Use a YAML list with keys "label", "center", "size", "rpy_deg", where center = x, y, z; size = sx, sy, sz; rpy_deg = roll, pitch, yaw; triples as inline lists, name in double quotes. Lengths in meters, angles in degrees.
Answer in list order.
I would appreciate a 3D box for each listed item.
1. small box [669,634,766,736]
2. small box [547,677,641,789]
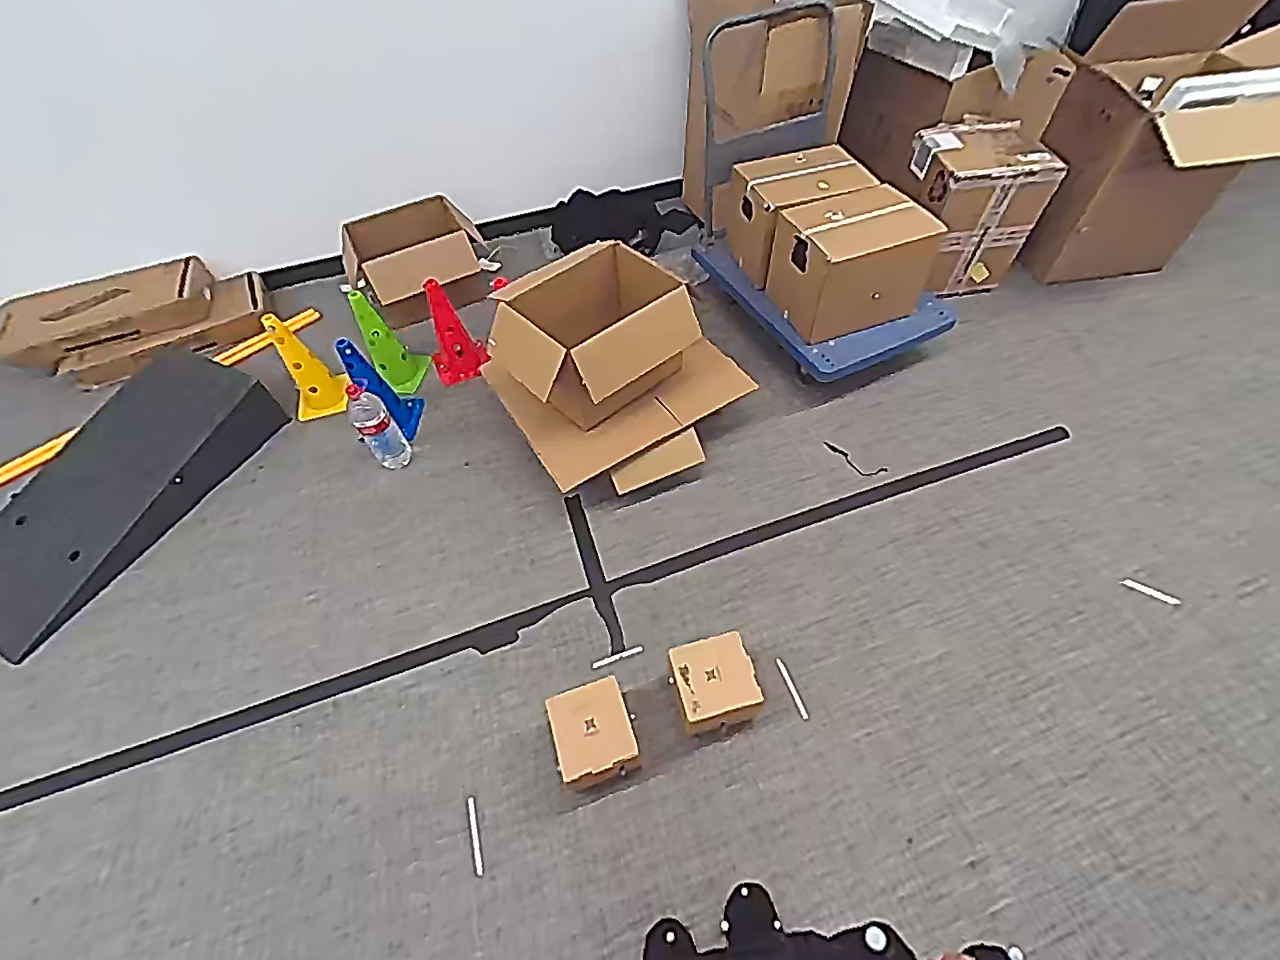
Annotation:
- label: "small box"
  center: [0.173, 0.485, 1.271]
  size: [0.179, 0.176, 0.168]
  rpy_deg: [-12, 55, -7]
- label: "small box"
  center: [-0.099, 0.576, 1.220]
  size: [0.168, 0.176, 0.179]
  rpy_deg: [-17, 55, -10]
